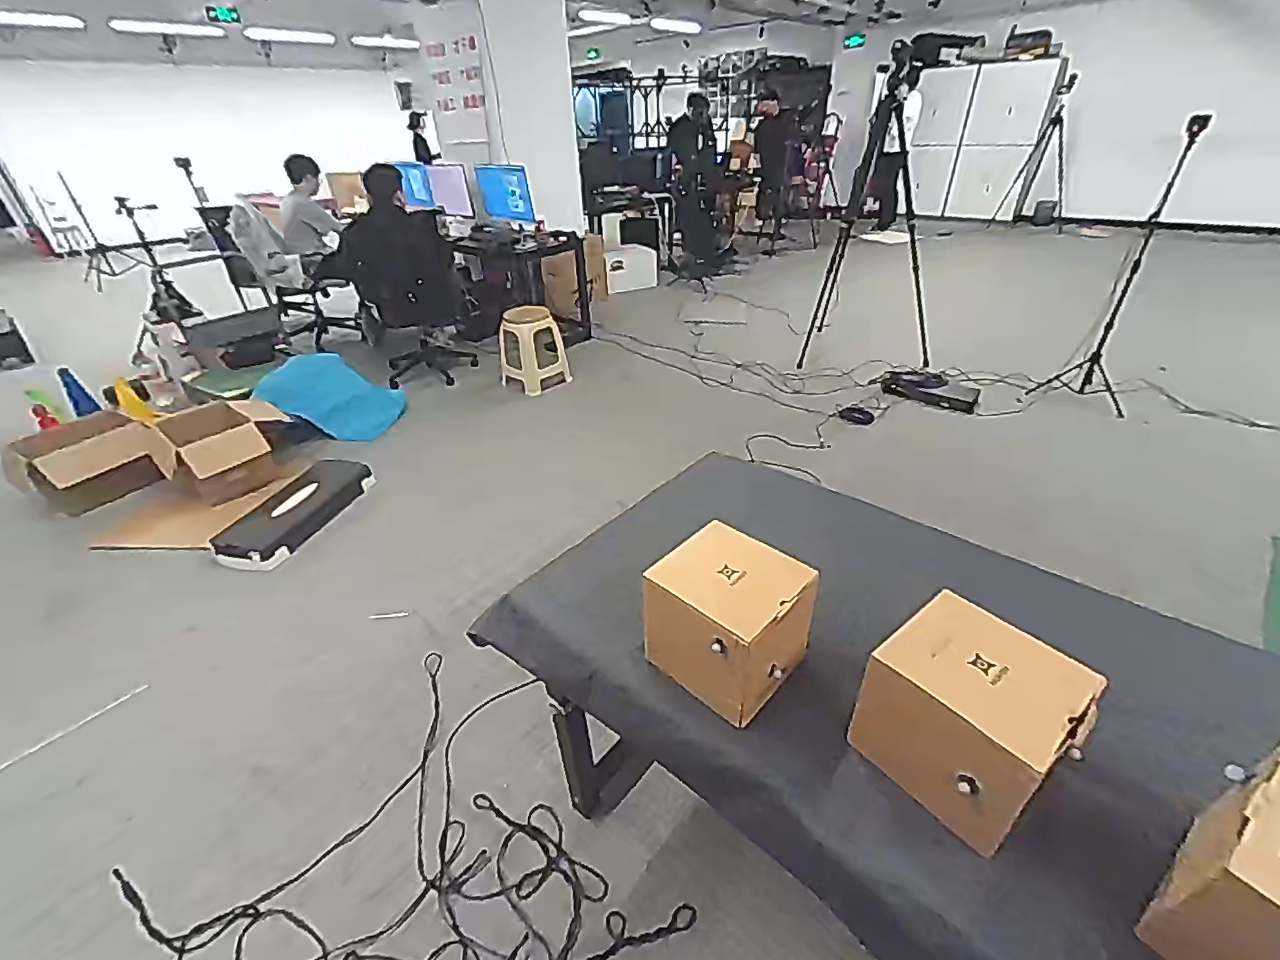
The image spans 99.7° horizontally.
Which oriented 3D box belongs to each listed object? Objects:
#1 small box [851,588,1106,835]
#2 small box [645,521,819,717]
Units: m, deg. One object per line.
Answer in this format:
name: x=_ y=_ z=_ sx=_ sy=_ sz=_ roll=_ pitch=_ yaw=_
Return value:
small box: x=0.375 y=0.266 z=0.625 sx=0.168 sy=0.176 sz=0.179 roll=-24 pitch=37 yaw=-30
small box: x=0.123 y=0.190 z=0.761 sx=0.179 sy=0.176 sz=0.168 roll=26 pitch=42 yaw=36
